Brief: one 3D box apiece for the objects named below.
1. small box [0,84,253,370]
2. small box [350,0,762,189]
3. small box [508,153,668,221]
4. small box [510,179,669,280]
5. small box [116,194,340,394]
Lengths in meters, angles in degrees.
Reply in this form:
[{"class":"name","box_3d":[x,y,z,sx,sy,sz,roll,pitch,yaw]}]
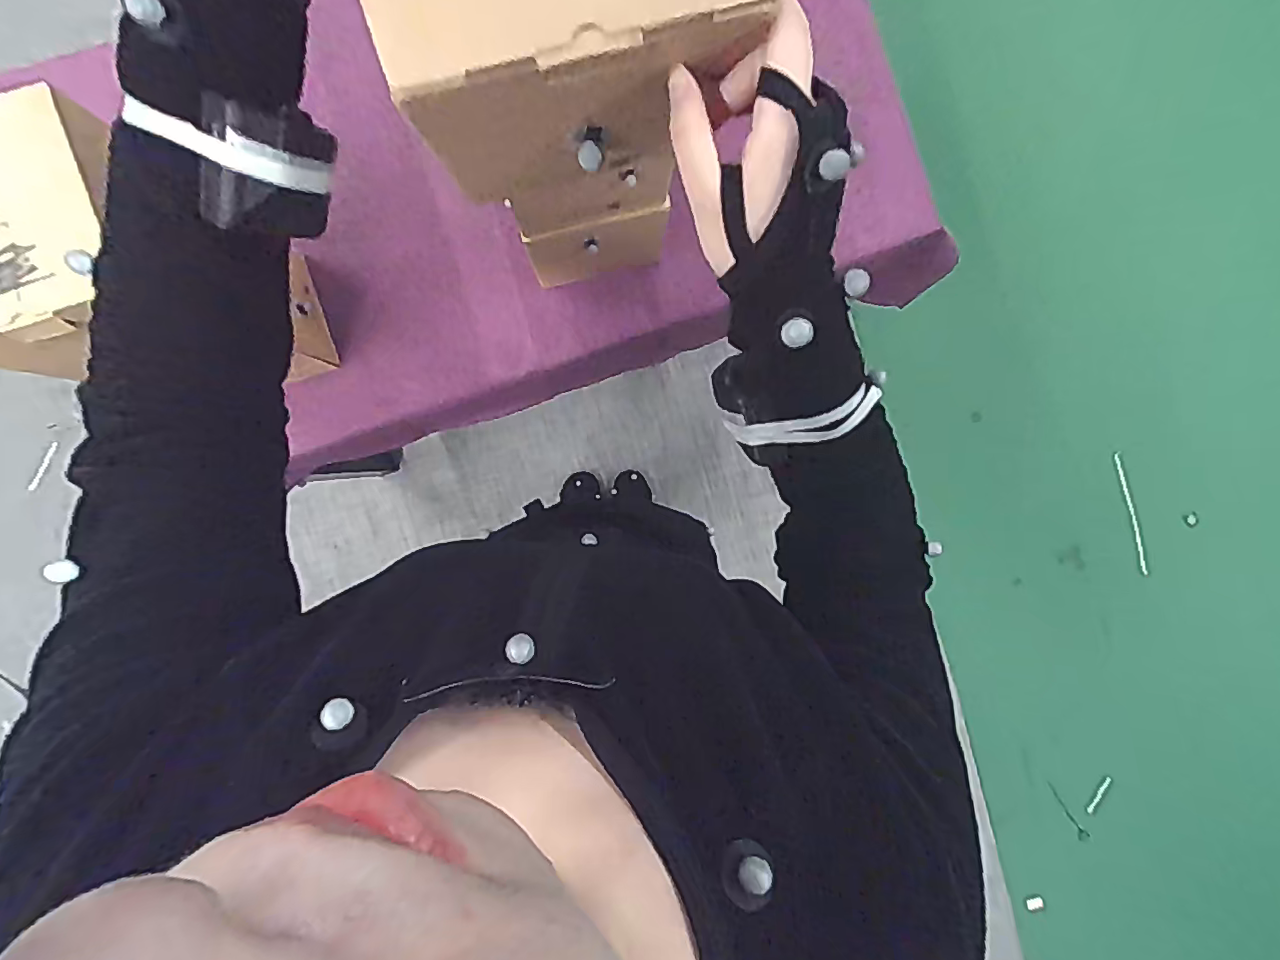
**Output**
[{"class":"small box","box_3d":[-0.518,-0.213,0.513,0.168,0.176,0.179,-19,91,-2]},{"class":"small box","box_3d":[-0.053,-0.271,0.279,0.168,0.176,0.179,-15,105,-2]},{"class":"small box","box_3d":[-0.067,-0.376,0.523,0.168,0.176,0.179,-14,92,-2]},{"class":"small box","box_3d":[-0.069,-0.373,0.686,0.179,0.176,0.168,-14,93,-1]},{"class":"small box","box_3d":[-0.521,-0.216,0.678,0.179,0.176,0.168,-18,92,-2]}]
